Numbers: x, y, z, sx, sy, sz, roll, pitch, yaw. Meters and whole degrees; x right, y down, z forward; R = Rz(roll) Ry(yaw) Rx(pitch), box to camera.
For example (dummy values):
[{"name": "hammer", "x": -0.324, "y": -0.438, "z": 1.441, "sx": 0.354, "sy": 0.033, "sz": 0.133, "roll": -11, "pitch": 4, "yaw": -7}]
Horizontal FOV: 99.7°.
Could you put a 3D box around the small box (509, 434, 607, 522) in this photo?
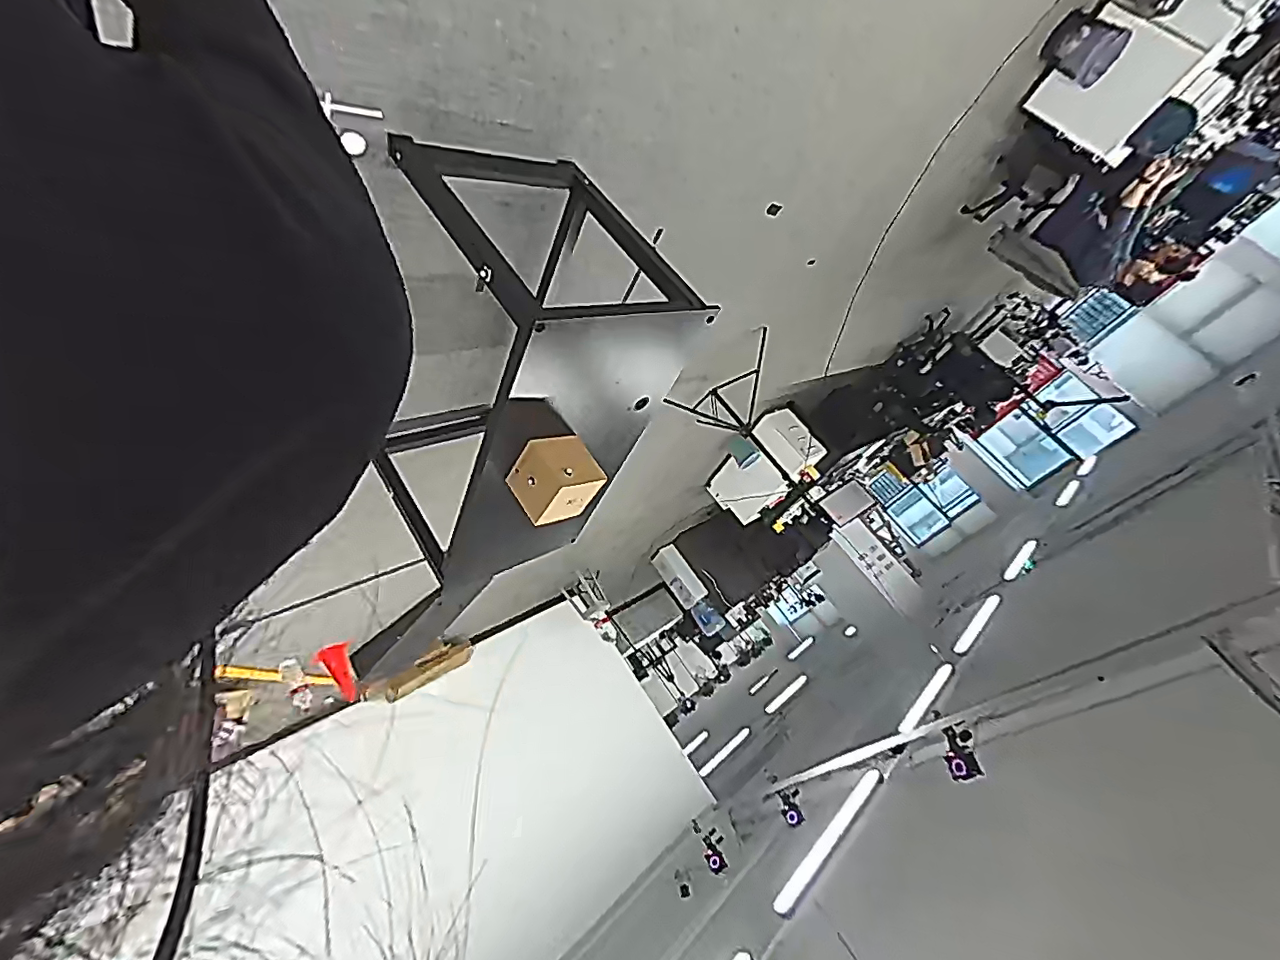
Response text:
[{"name": "small box", "x": -0.232, "y": -0.012, "z": 1.503, "sx": 0.179, "sy": 0.176, "sz": 0.168, "roll": -14, "pitch": 150, "yaw": -51}]
